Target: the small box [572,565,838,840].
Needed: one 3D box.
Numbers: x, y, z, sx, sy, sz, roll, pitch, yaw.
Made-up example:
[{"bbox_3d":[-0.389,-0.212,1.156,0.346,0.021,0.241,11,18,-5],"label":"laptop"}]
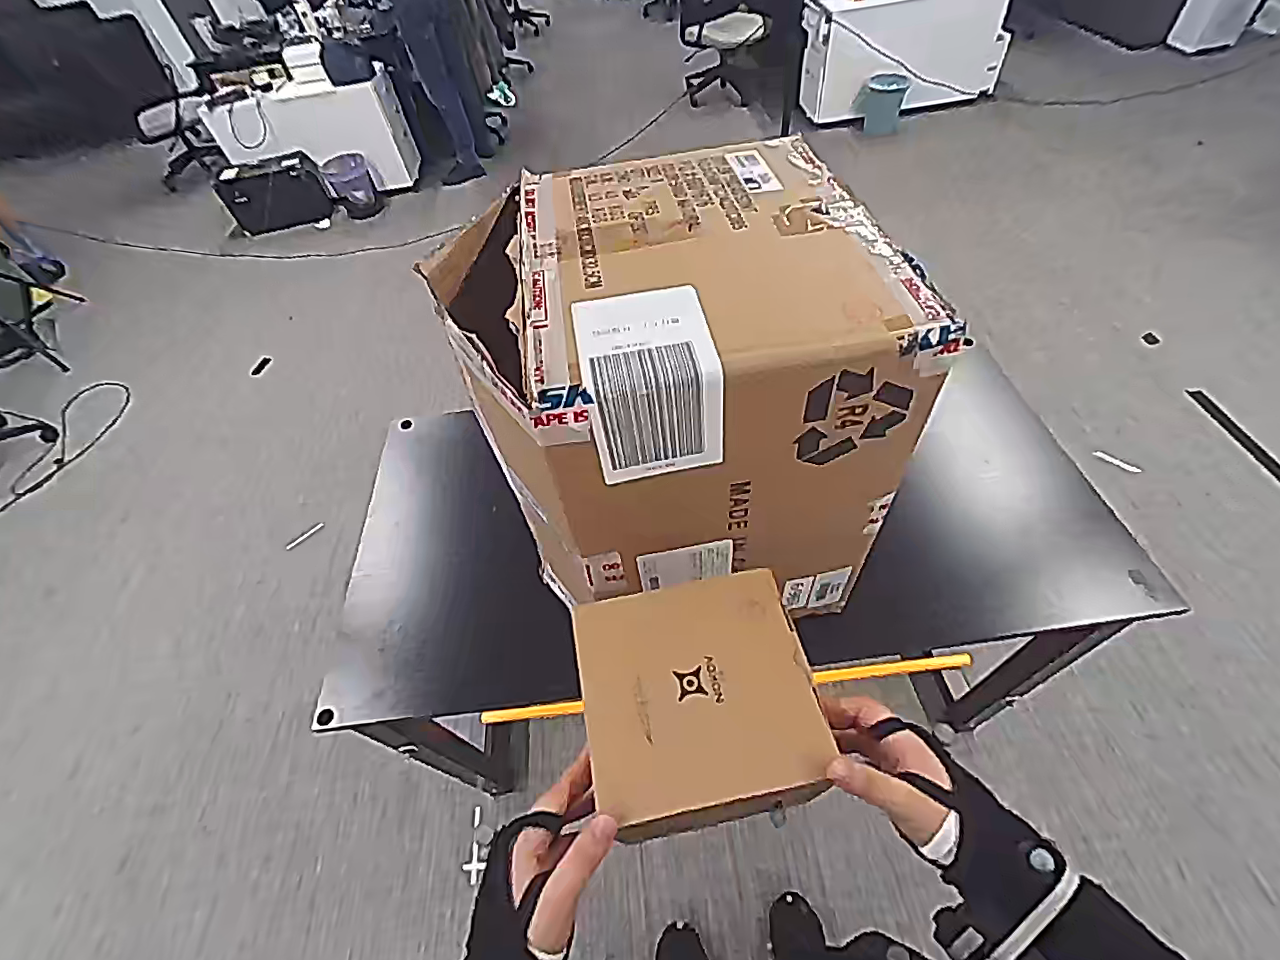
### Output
[{"bbox_3d":[0.047,0.202,0.484,0.179,0.176,0.168,-12,51,-3],"label":"small box"}]
